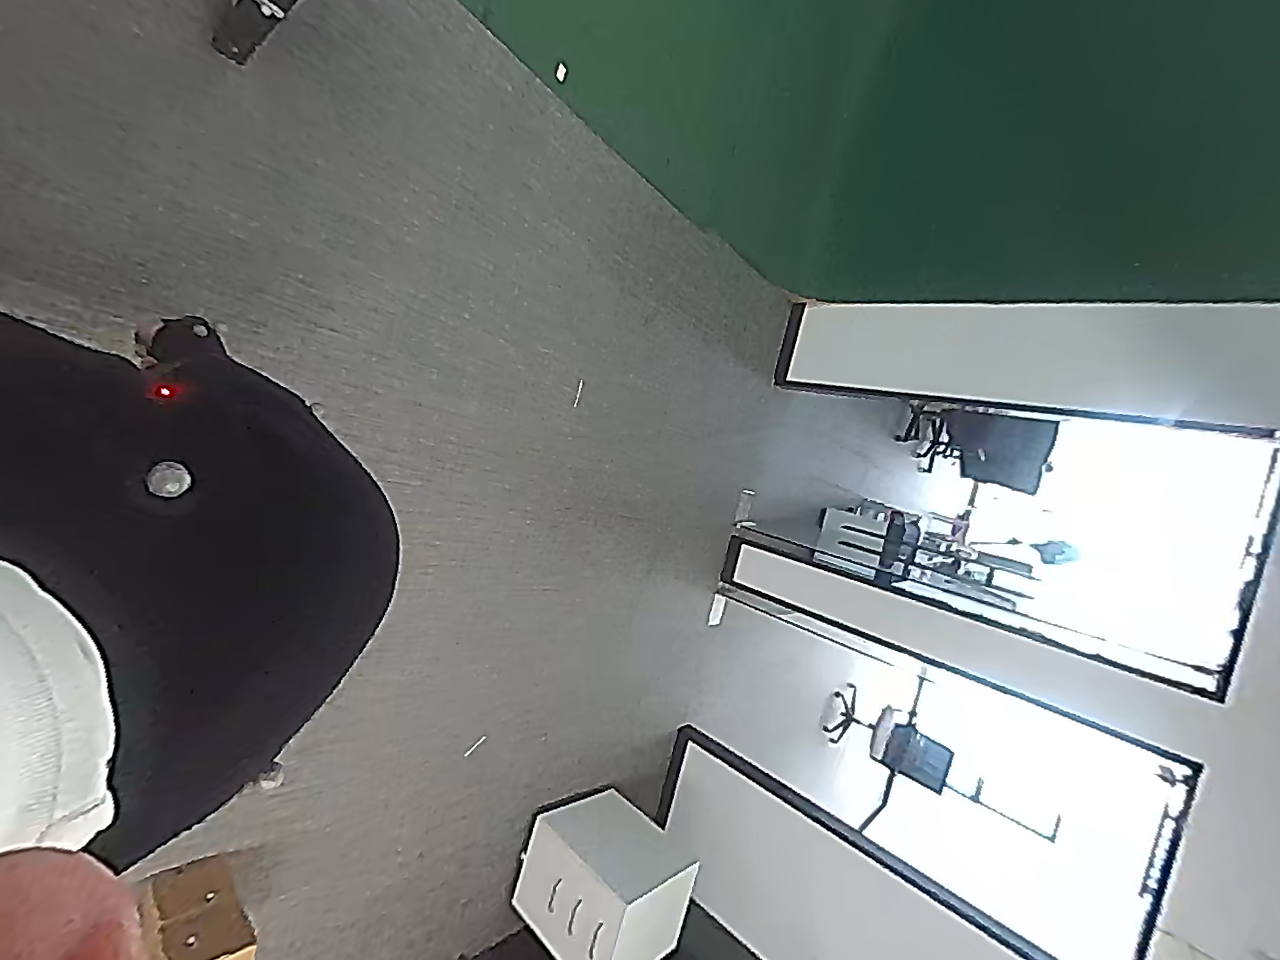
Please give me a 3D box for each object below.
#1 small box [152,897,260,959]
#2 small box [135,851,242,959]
[{"bbox_3d":[-1.041,1.148,1.287,0.168,0.176,0.179,12,95,-50],"label":"small box"},{"bbox_3d":[-1.163,1.111,1.388,0.168,0.176,0.179,15,91,-51],"label":"small box"}]
